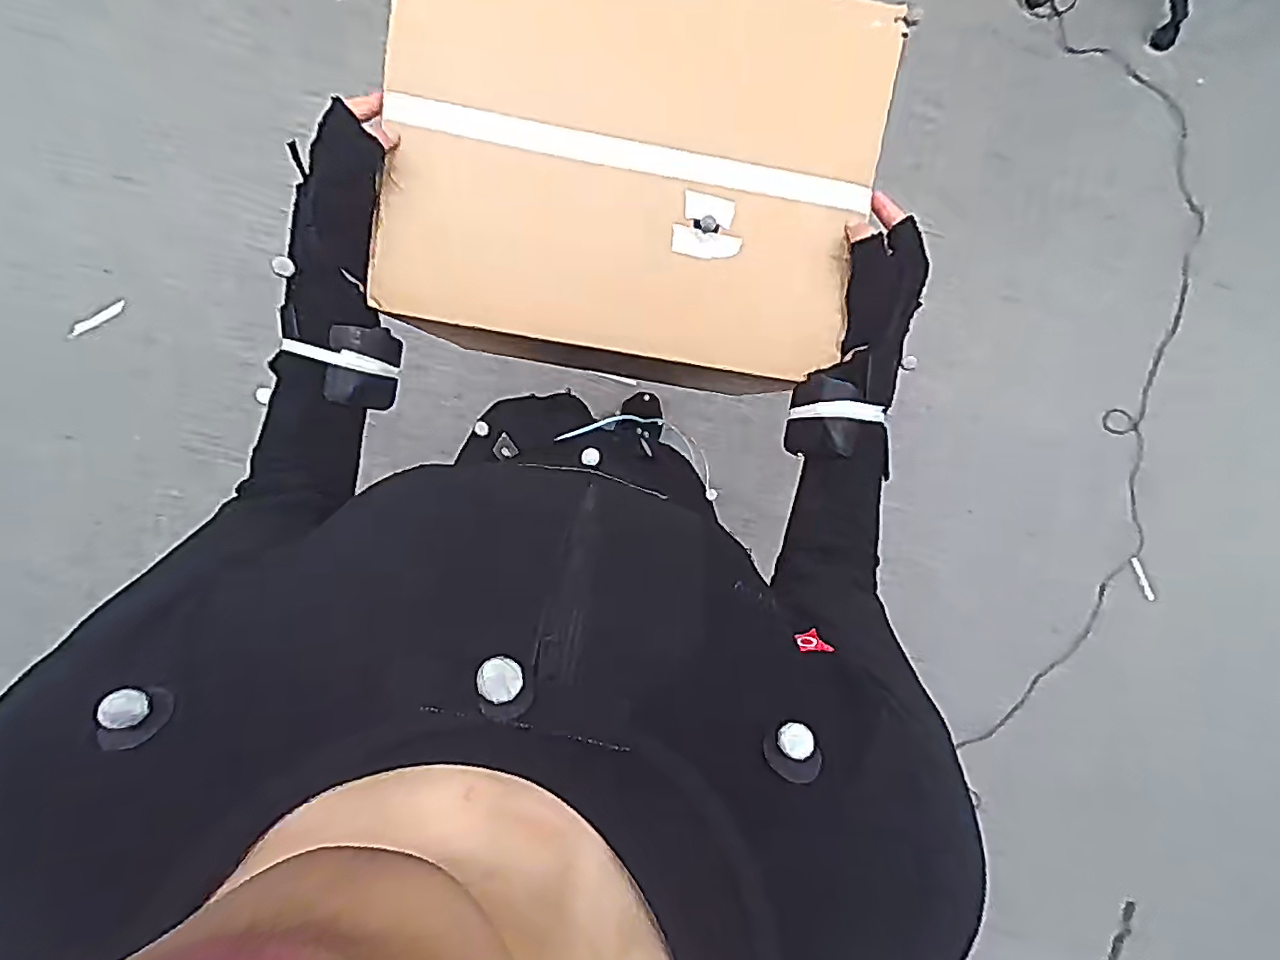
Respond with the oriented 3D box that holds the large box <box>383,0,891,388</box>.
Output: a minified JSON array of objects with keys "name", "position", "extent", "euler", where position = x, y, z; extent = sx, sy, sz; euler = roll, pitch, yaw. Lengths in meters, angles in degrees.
[{"name":"large box","position":[-0.016,-0.287,0.603],"extent":[0.408,0.320,0.320],"euler":[8,98,-6]}]
